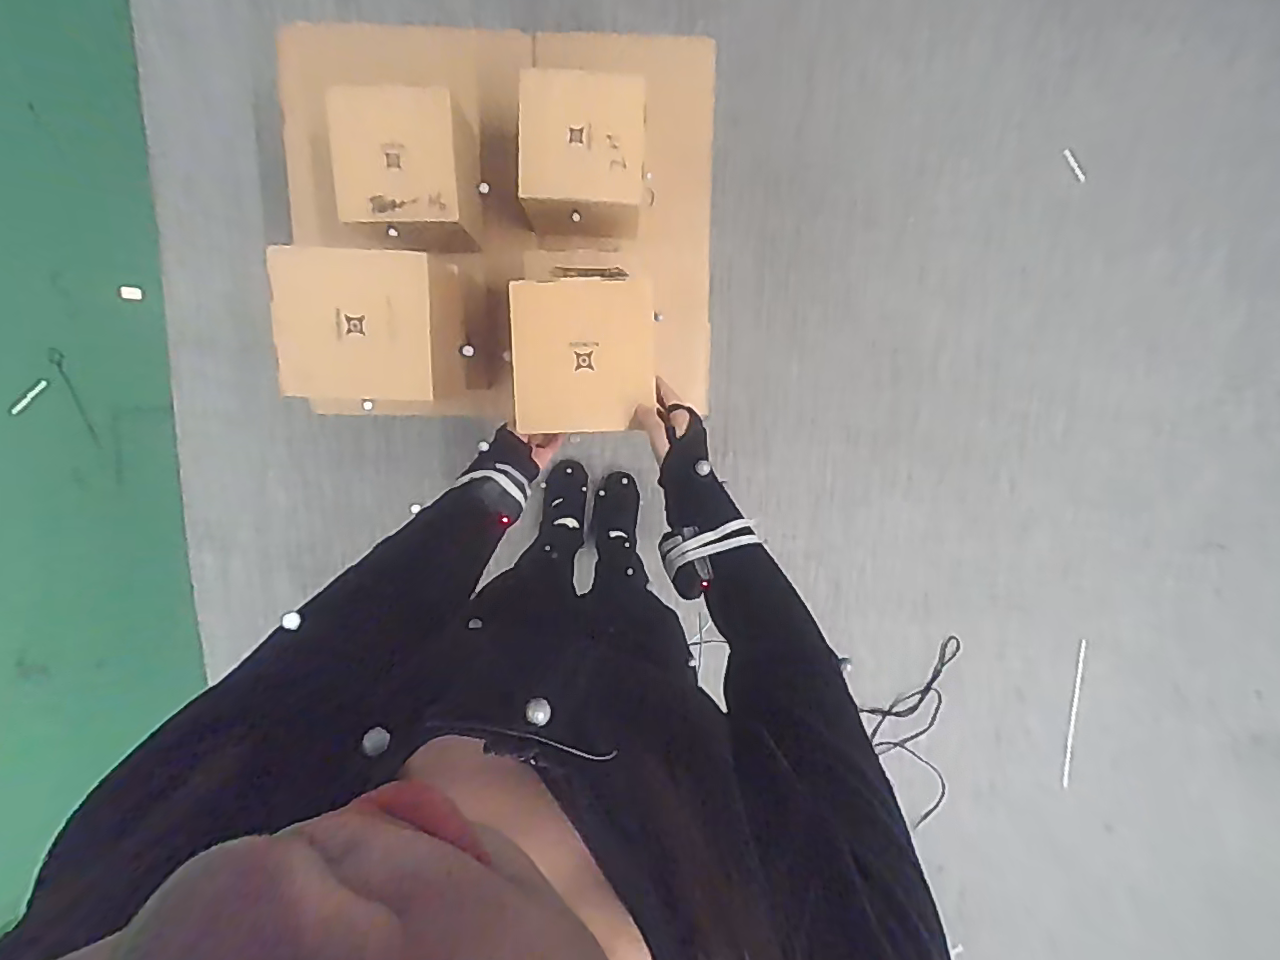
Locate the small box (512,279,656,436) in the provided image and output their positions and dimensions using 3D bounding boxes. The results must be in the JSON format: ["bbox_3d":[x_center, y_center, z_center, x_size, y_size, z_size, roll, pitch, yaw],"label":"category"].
[{"bbox_3d":[-0.063,-0.149,0.700,0.168,0.176,0.179,-2,95,0],"label":"small box"}]

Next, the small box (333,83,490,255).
[{"bbox_3d":[-0.328,-0.453,0.810,0.168,0.176,0.179,-1,98,-1],"label":"small box"}]

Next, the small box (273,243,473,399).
[{"bbox_3d":[-0.324,-0.190,0.689,0.179,0.176,0.168,2,101,-3],"label":"small box"}]
